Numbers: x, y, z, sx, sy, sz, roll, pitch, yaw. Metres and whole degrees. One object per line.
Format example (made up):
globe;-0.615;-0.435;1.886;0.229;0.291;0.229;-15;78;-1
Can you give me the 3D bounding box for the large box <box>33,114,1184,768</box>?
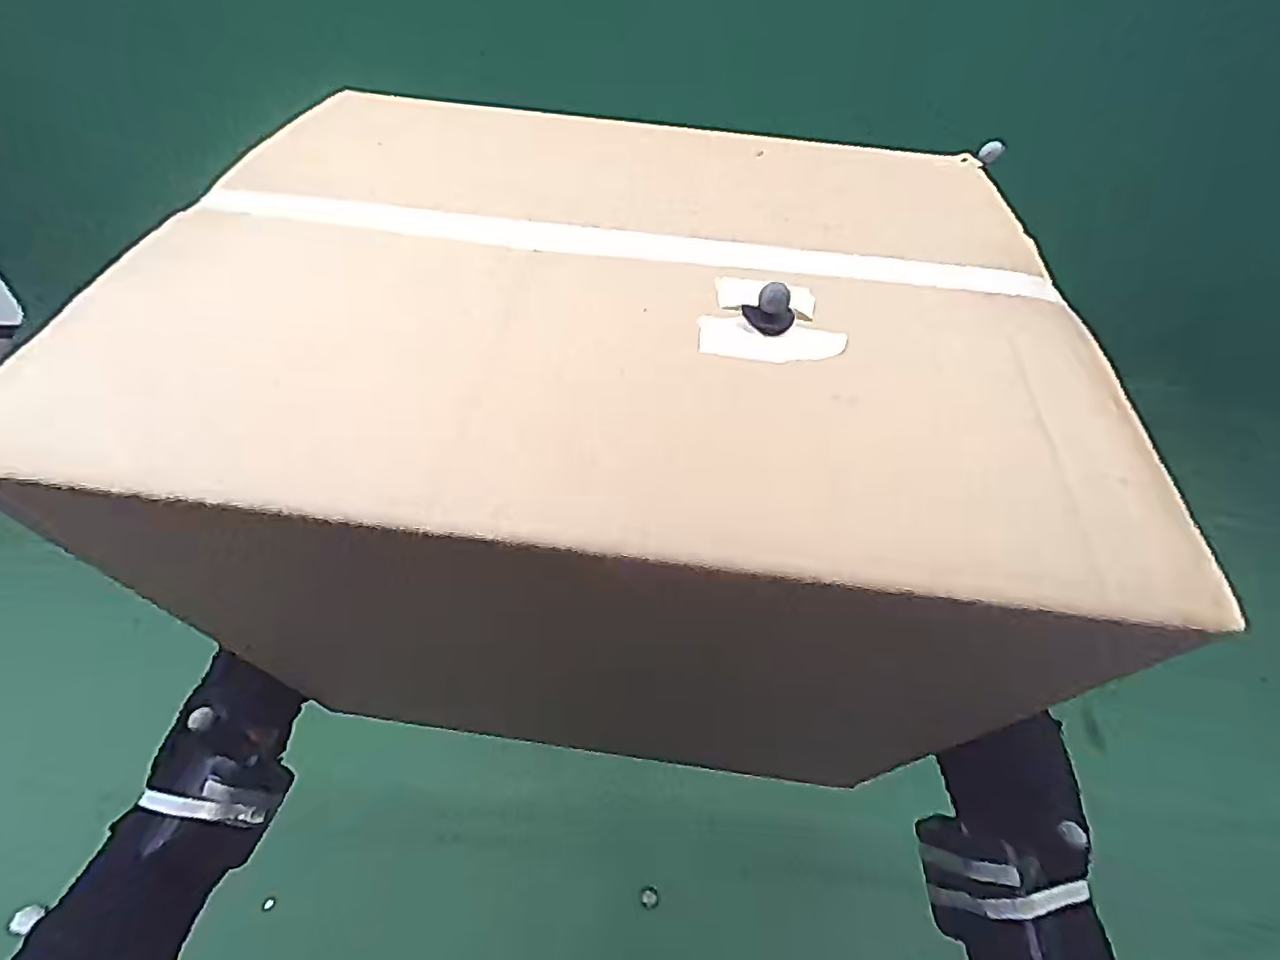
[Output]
large box;-0.008;-0.014;0.389;0.408;0.320;0.320;8;53;2
